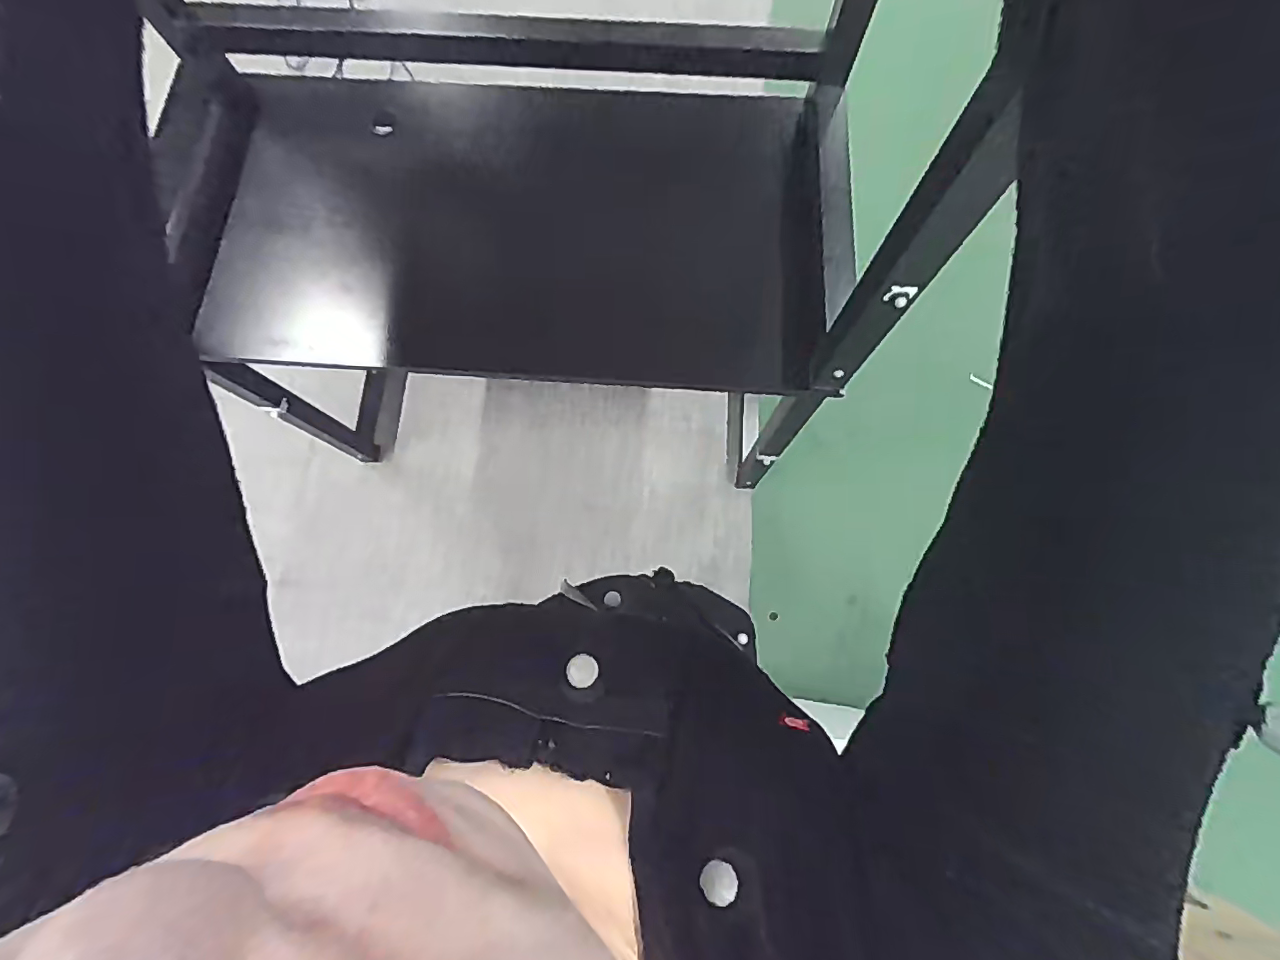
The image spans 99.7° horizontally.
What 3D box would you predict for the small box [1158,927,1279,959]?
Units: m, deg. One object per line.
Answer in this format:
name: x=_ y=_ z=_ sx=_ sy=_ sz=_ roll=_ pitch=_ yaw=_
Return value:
small box: x=0.557 y=0.492 z=0.416 sx=0.168 sy=0.176 sz=0.179 roll=4 pitch=77 yaw=3
